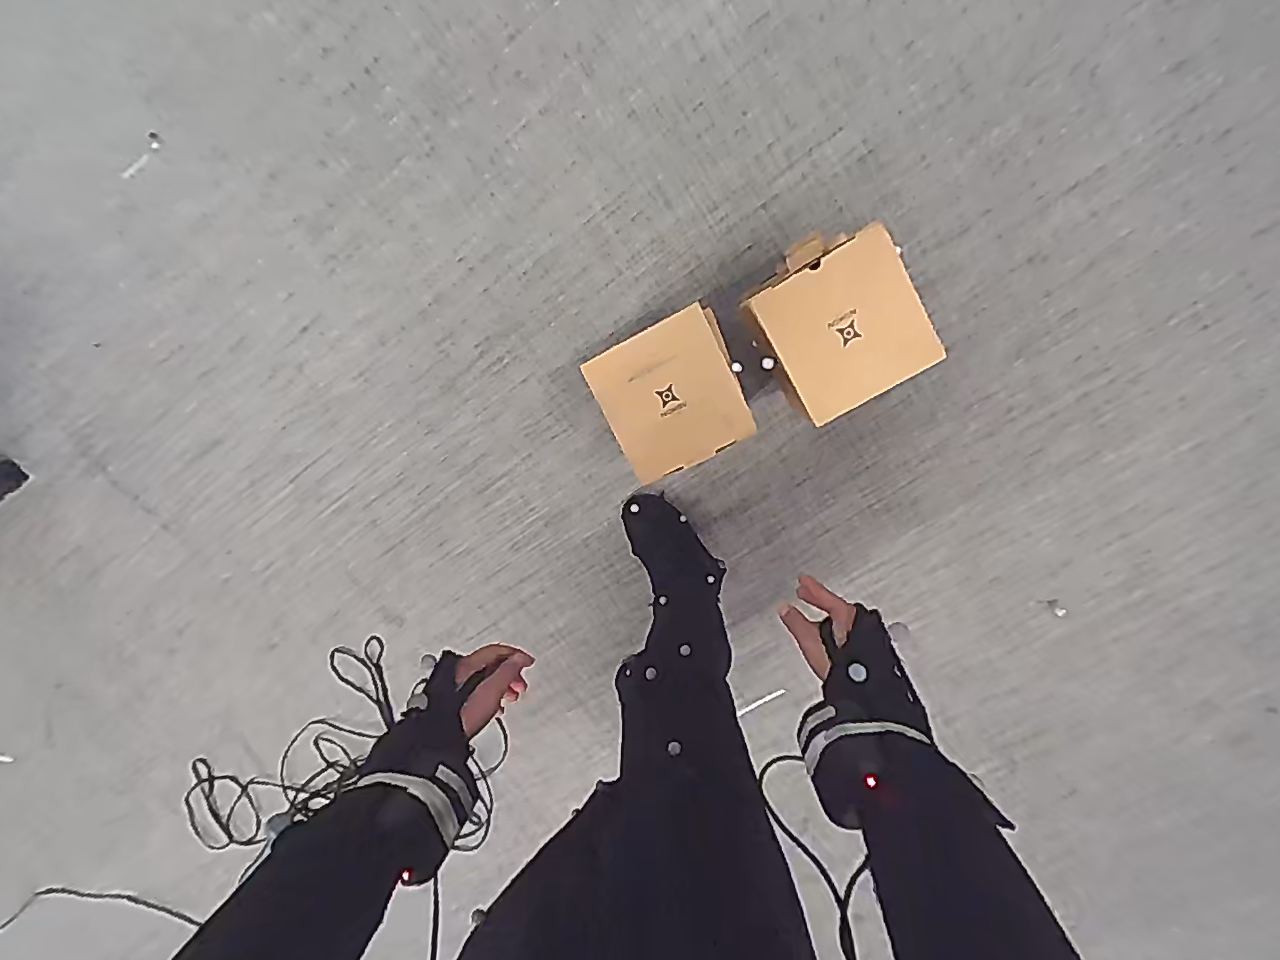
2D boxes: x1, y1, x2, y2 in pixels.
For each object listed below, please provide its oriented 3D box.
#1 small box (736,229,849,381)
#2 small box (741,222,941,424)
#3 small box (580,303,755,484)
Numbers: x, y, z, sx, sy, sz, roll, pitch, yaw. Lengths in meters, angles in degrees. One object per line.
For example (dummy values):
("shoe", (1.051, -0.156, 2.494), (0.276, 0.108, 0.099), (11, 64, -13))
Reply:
("small box", (0.265, -0.256, 0.854), (0.168, 0.176, 0.179), (-29, 99, 12))
("small box", (0.246, -0.197, 0.702), (0.168, 0.176, 0.179), (-30, 99, 12))
("small box", (0.042, -0.122, 0.743), (0.168, 0.176, 0.179), (-26, 99, 11))
